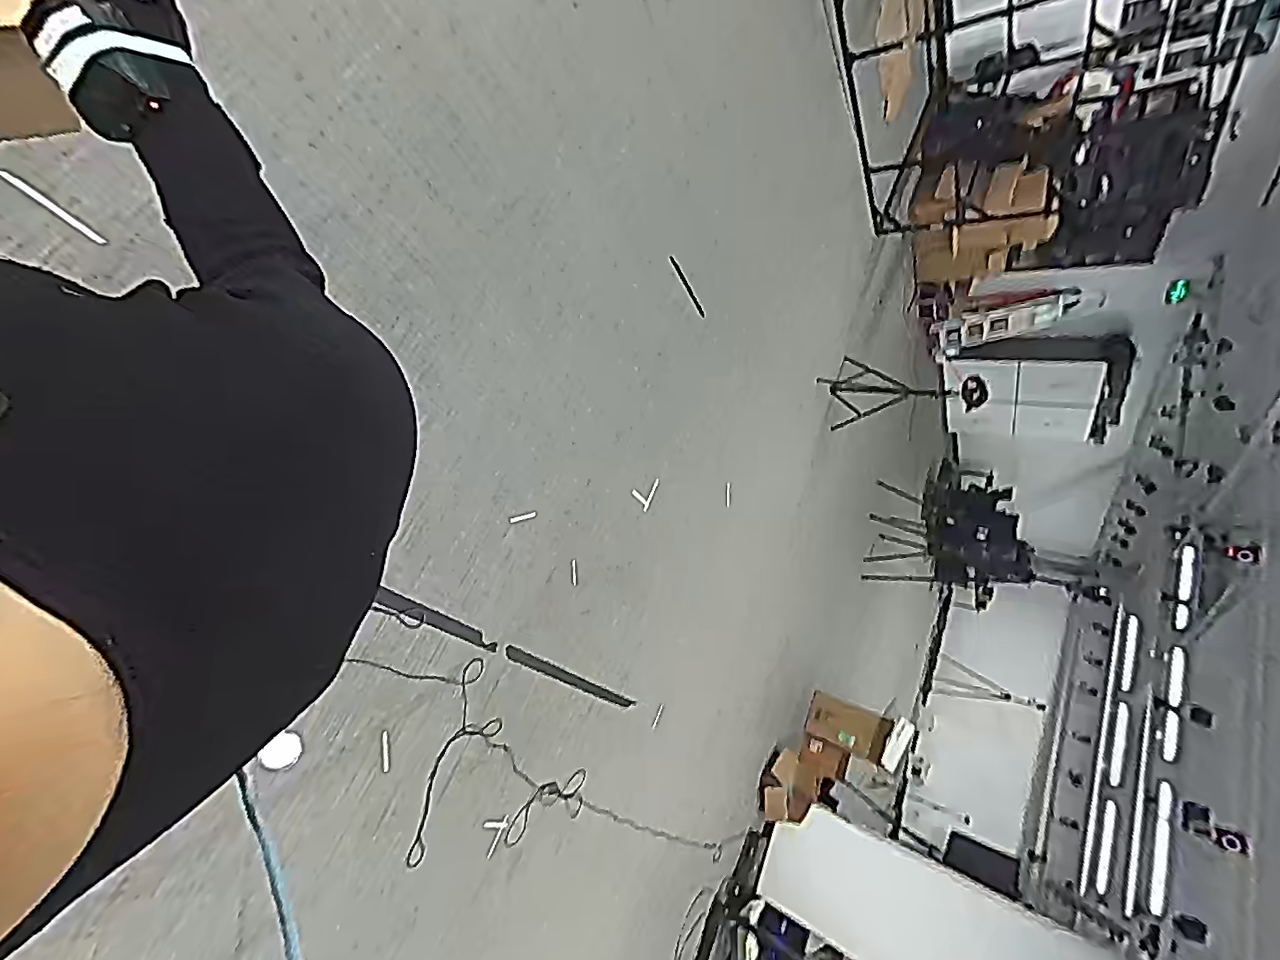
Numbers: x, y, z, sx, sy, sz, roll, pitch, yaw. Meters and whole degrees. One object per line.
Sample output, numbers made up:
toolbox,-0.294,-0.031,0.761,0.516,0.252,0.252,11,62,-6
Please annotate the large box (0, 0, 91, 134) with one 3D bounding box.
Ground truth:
large box,-0.641,-0.369,0.282,0.408,0.320,0.320,-37,127,-35
